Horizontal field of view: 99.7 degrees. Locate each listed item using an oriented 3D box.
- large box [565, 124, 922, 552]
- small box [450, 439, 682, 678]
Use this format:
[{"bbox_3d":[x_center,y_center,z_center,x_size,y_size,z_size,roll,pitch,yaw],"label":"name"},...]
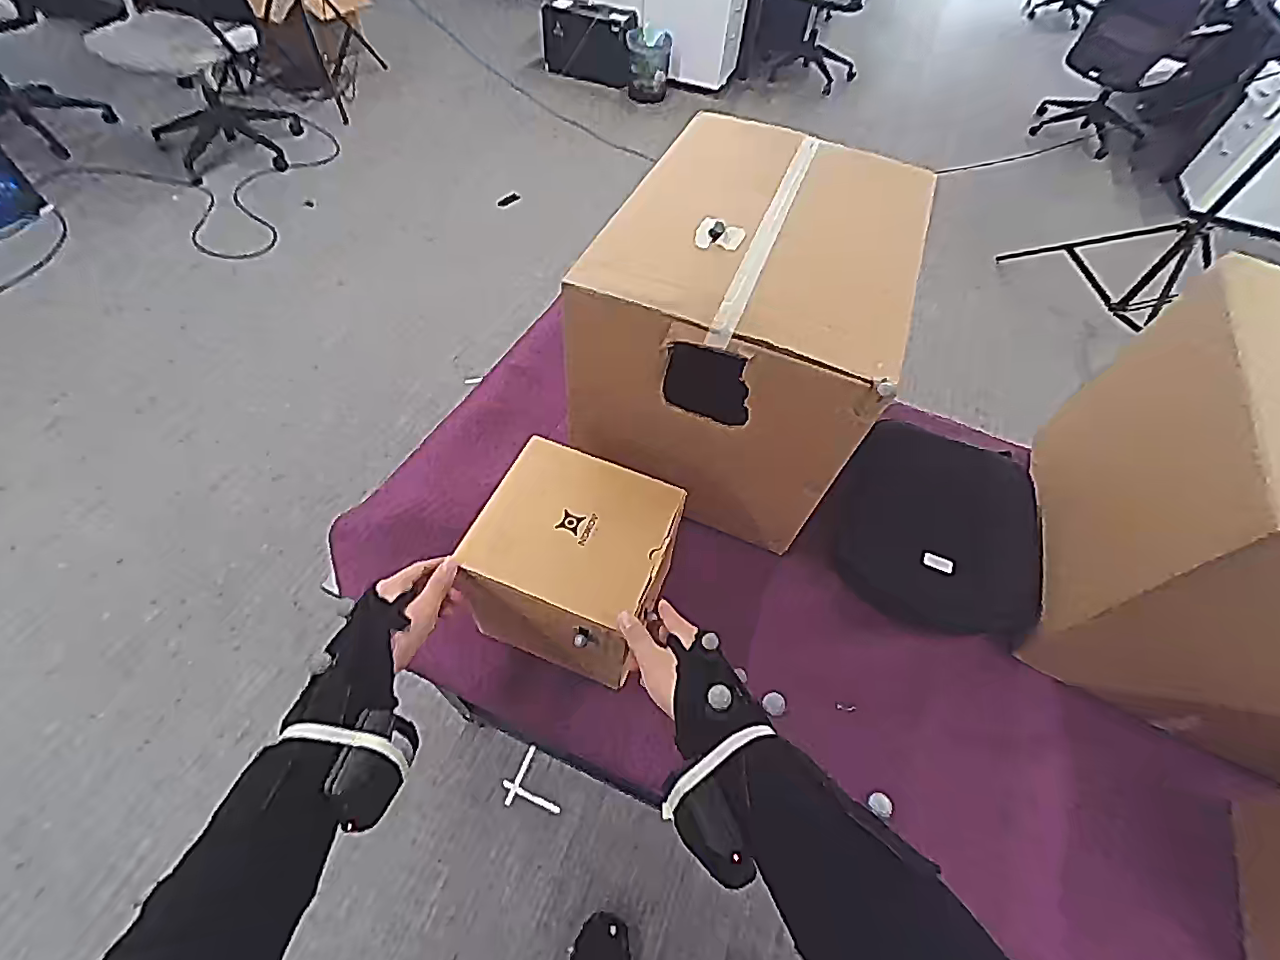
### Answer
[{"bbox_3d":[0.128,-0.184,0.710,0.320,0.320,0.408,20,58,9],"label":"large box"},{"bbox_3d":[-0.072,0.090,0.583,0.179,0.176,0.168,19,54,8],"label":"small box"}]
